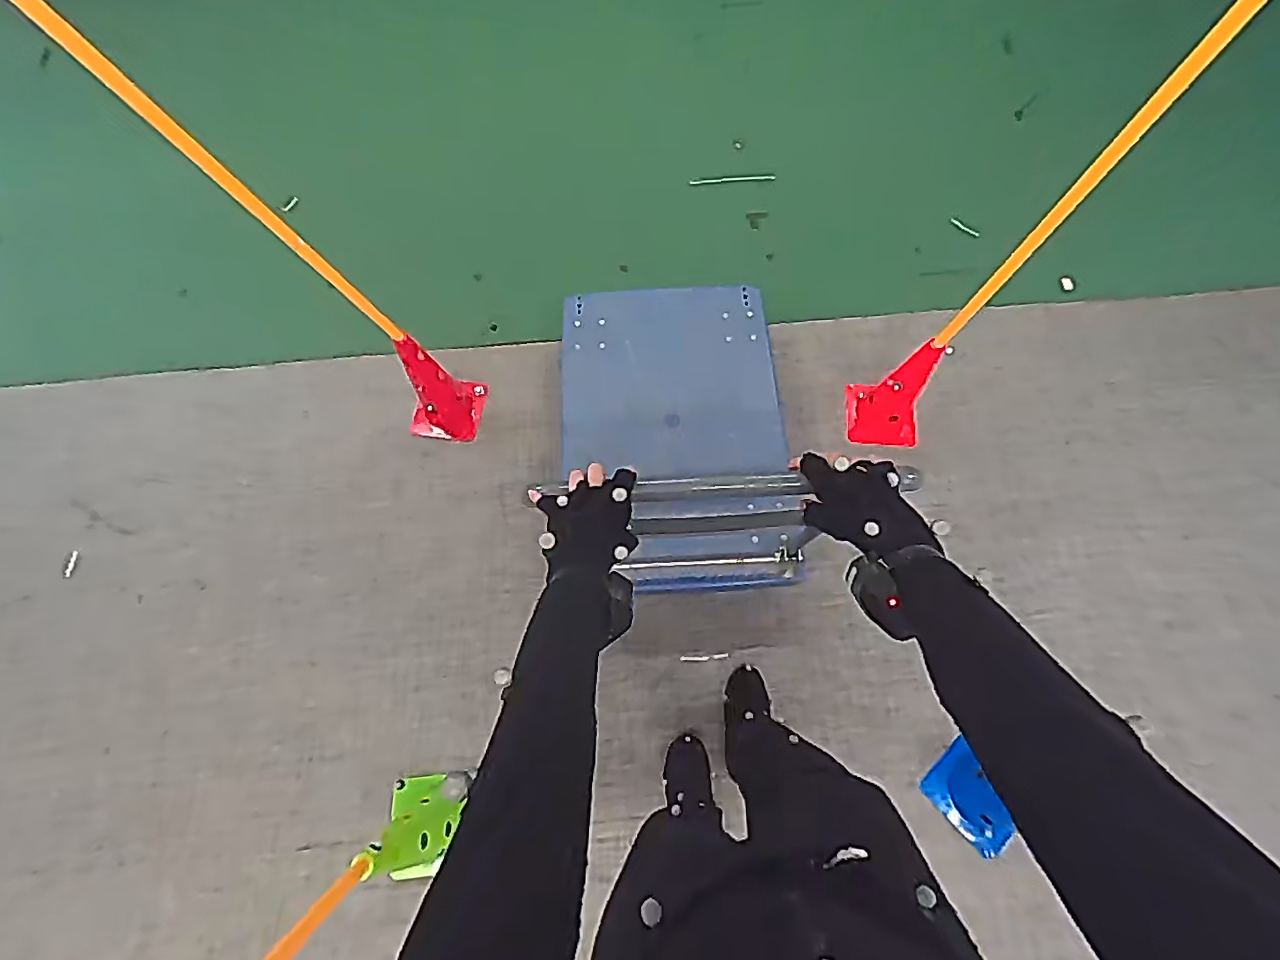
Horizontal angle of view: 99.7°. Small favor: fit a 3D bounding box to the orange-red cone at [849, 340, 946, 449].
[{"bbox_3d":[0.717,-0.250,1.447,0.198,0.360,0.199,6,69,4],"label":"orange-red cone"}]
